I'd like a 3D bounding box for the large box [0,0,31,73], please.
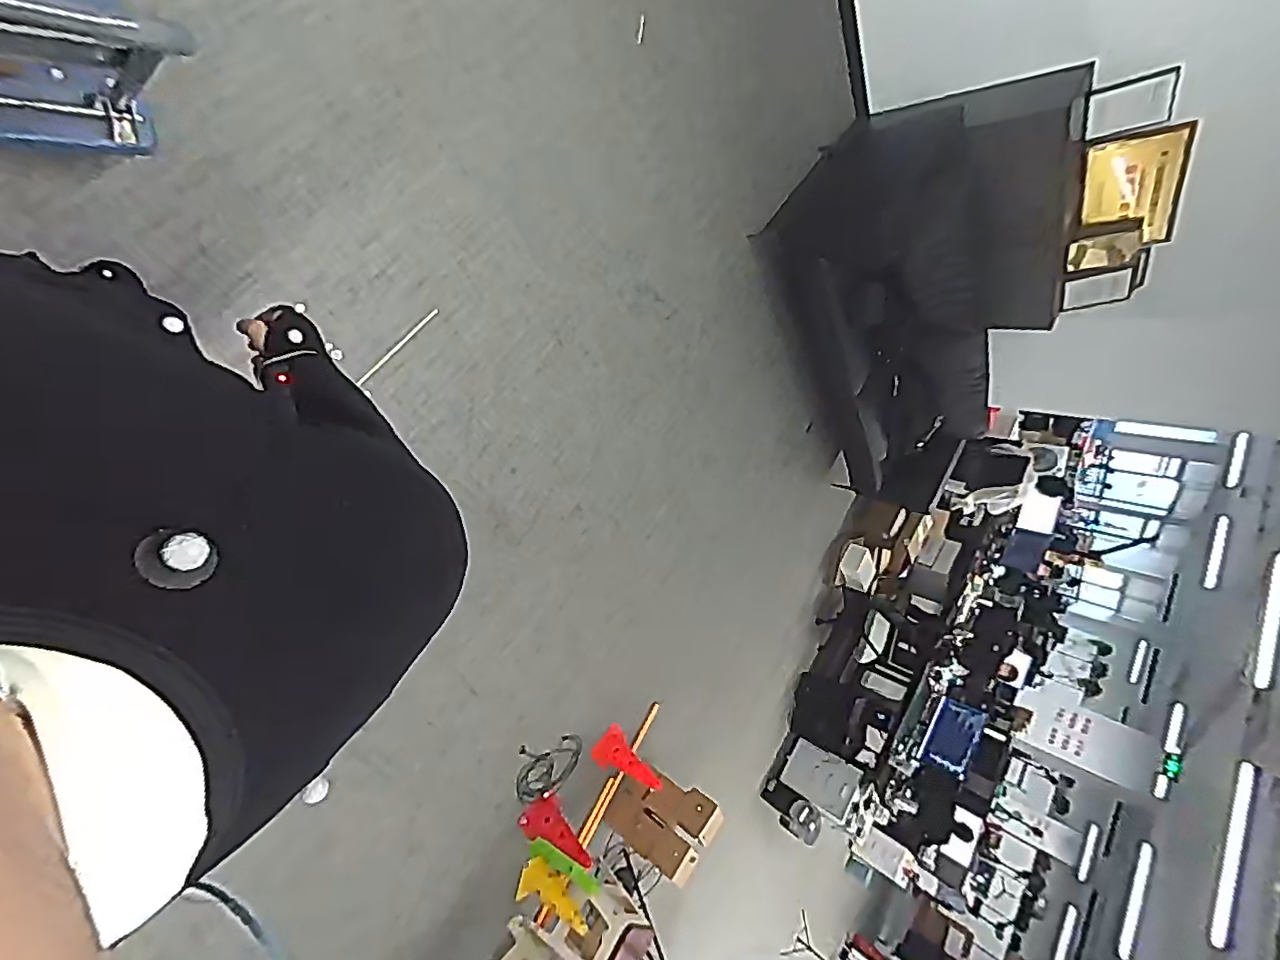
[{"bbox_3d":[-1.045,-0.798,0.651,0.320,0.320,0.408,-21,116,-42],"label":"large box"}]
